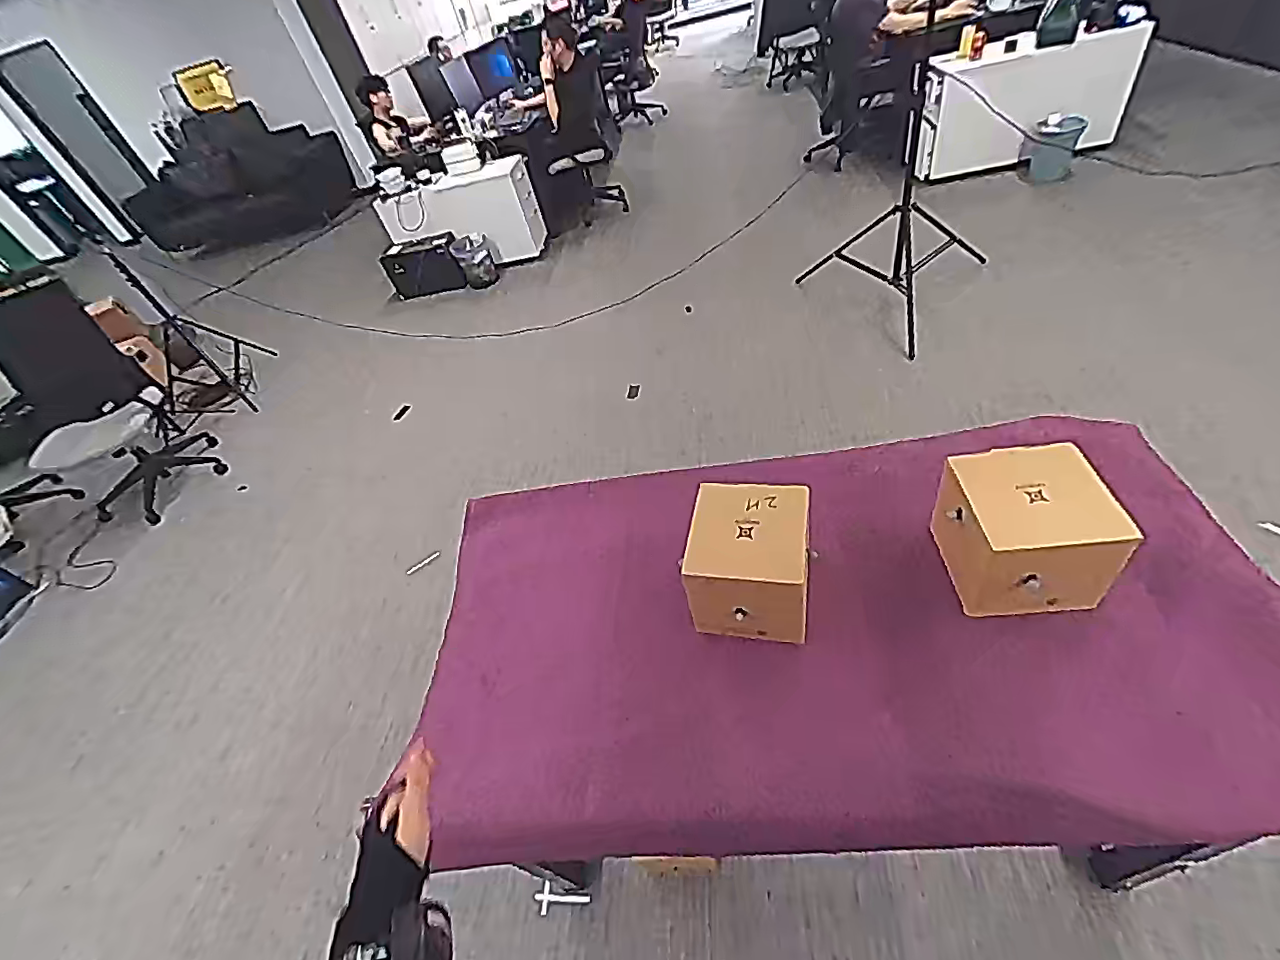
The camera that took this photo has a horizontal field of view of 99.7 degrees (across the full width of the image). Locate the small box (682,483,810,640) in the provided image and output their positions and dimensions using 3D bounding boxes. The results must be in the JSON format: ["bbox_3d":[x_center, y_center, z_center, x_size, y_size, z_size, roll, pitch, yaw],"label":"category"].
[{"bbox_3d":[0.173,0.126,0.836,0.168,0.176,0.179,3,47,18],"label":"small box"}]

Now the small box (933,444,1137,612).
[{"bbox_3d":[0.542,0.076,0.775,0.168,0.176,0.179,-7,44,12],"label":"small box"}]
